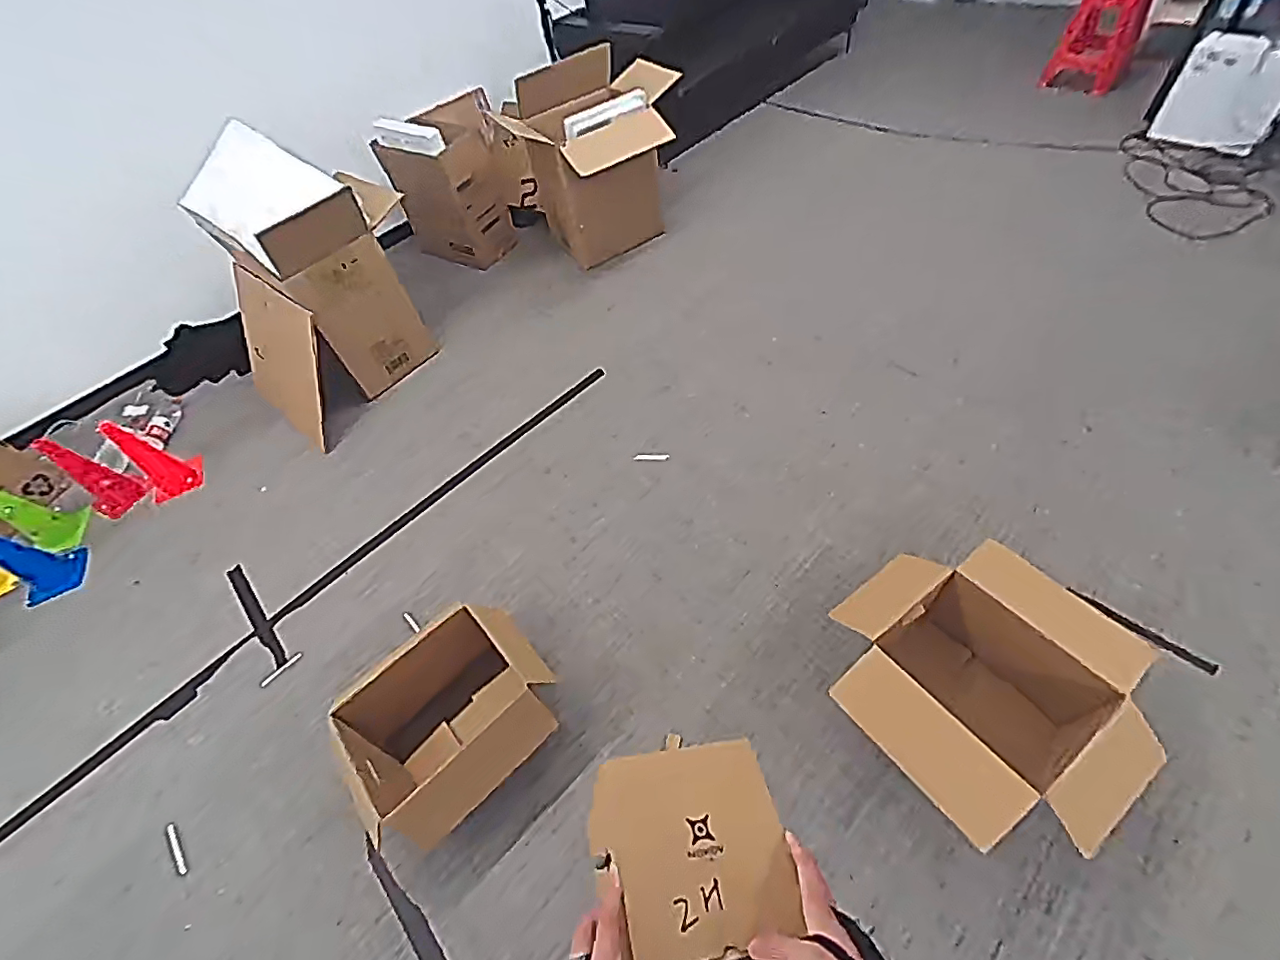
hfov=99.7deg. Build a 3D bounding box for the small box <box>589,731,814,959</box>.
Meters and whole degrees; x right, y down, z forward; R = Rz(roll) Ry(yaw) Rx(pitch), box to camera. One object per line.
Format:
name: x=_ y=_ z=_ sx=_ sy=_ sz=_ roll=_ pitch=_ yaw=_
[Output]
small box: x=0.044 y=0.392 z=0.556 sx=0.168 sy=0.176 sz=0.179 roll=-2 pitch=40 yaw=-14
